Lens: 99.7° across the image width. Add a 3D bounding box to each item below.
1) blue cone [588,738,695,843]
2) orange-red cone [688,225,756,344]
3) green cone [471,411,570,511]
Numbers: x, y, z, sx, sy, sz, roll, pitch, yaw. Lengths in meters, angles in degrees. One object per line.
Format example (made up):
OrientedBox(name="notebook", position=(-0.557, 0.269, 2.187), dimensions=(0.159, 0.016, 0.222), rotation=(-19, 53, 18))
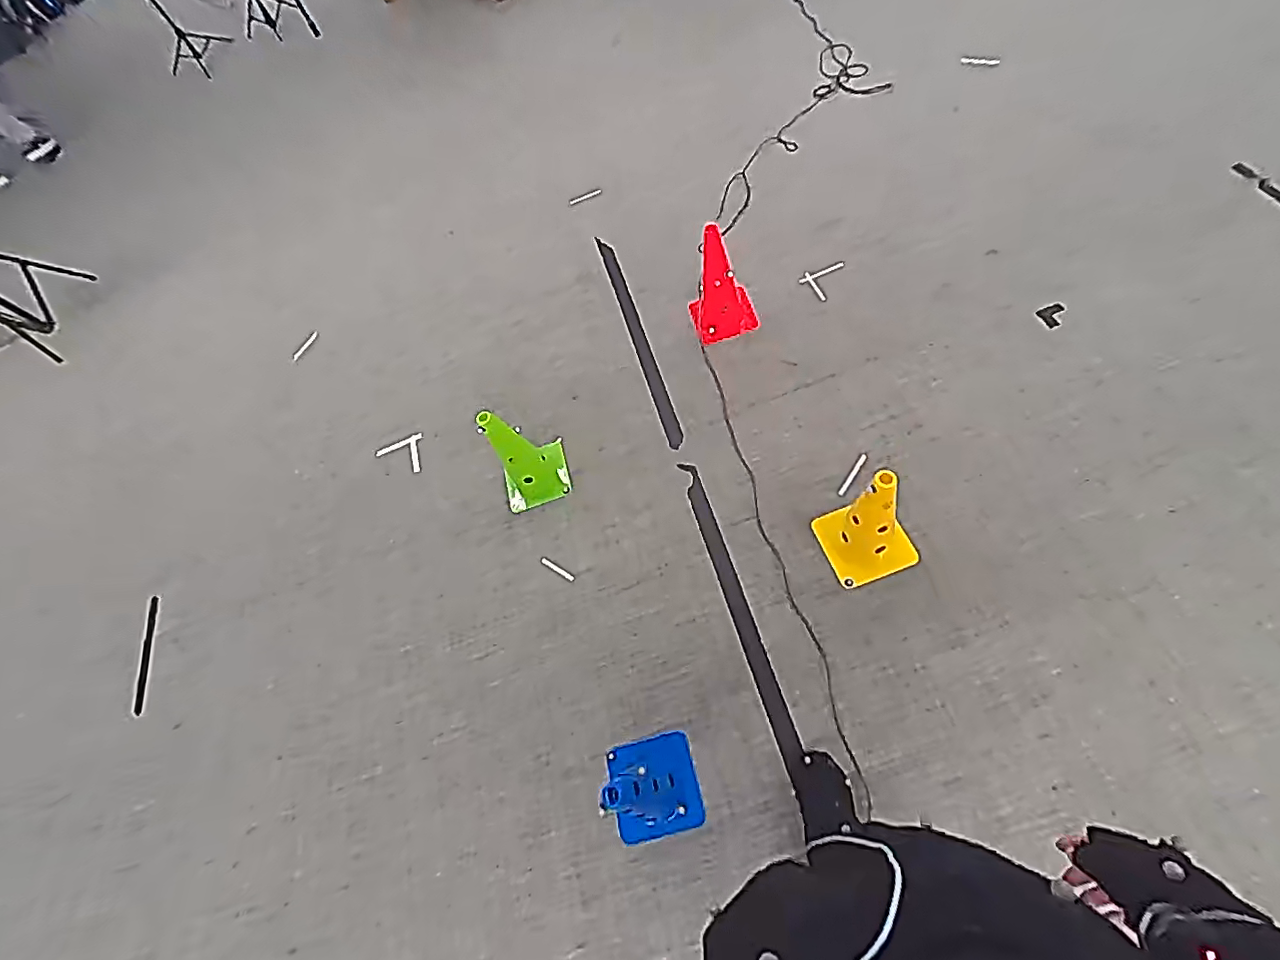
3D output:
OrientedBox(name="blue cone", position=(-0.018, 0.636, 1.099), dimensions=(0.192, 0.380, 0.193), rotation=(-17, 60, 7))
OrientedBox(name="orange-red cone", position=(0.235, -0.623, 1.657), dimensions=(0.199, 0.360, 0.198), rotation=(-16, 62, 6))
OrientedBox(name="green cone", position=(-0.369, -0.089, 1.543), dimensions=(0.202, 0.368, 0.200), rotation=(-21, 60, 5))
